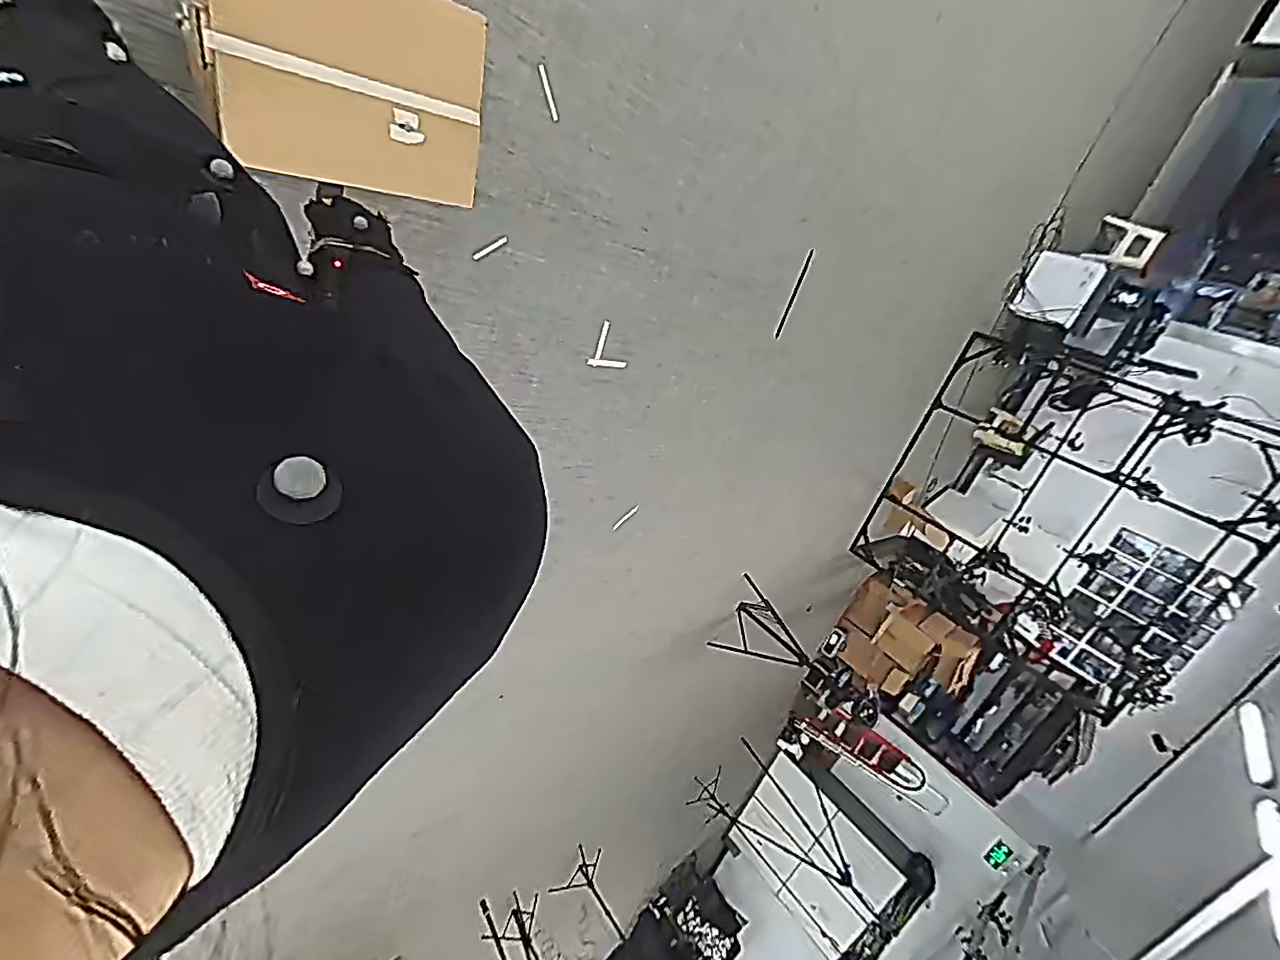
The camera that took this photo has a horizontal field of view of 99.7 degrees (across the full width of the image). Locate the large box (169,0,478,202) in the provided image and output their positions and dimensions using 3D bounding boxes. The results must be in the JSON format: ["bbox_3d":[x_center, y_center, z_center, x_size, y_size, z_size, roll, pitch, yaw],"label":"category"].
[{"bbox_3d":[-0.556,-0.721,0.964,0.408,0.320,0.320,-12,129,-42],"label":"large box"}]
